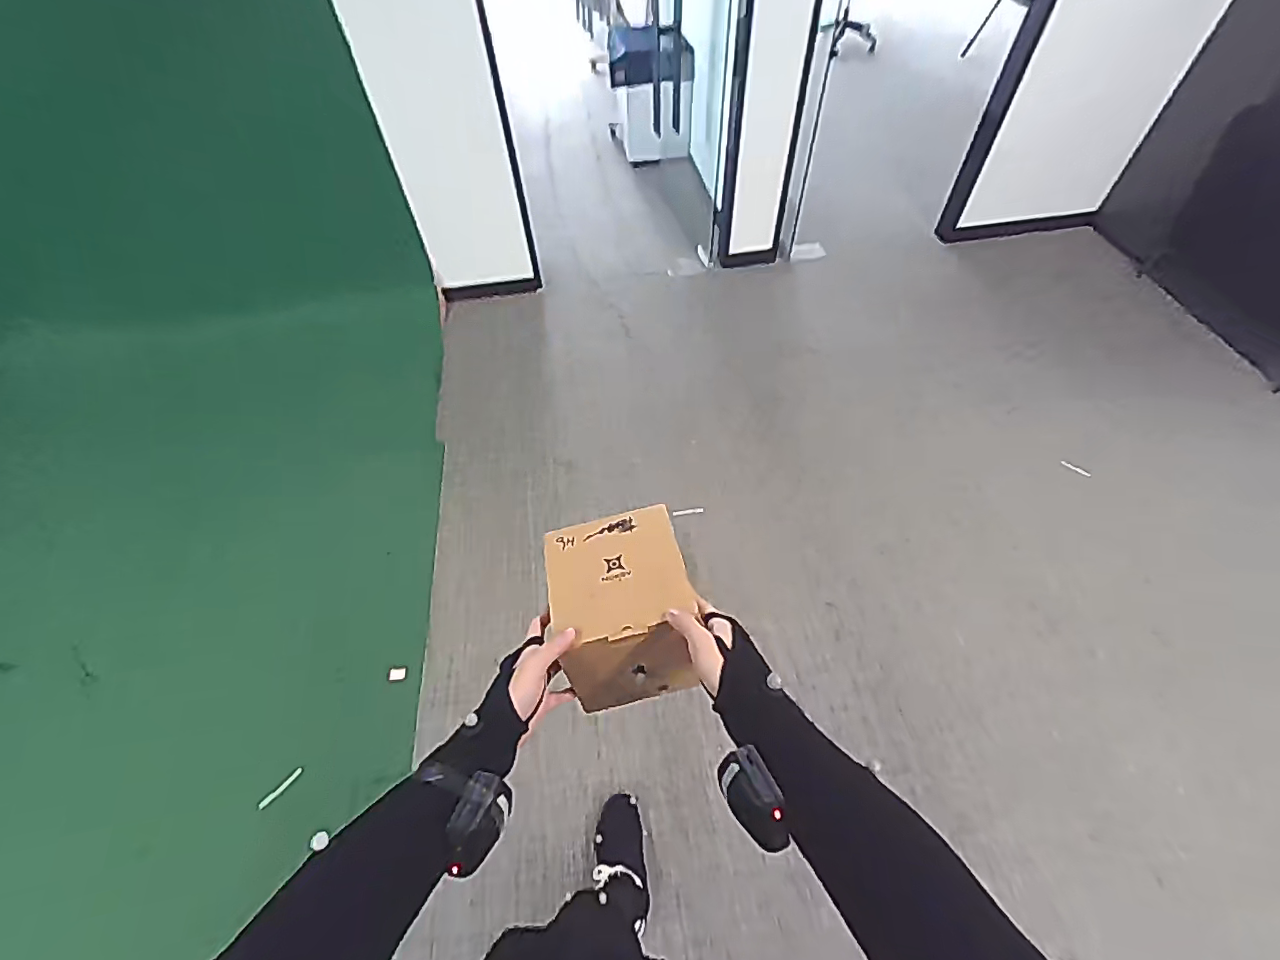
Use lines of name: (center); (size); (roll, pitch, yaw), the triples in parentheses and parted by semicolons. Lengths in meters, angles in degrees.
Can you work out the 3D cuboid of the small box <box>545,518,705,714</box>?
small box: (-0.018, 0.182, 0.705); (0.168, 0.176, 0.179); (-14, 43, -2)
